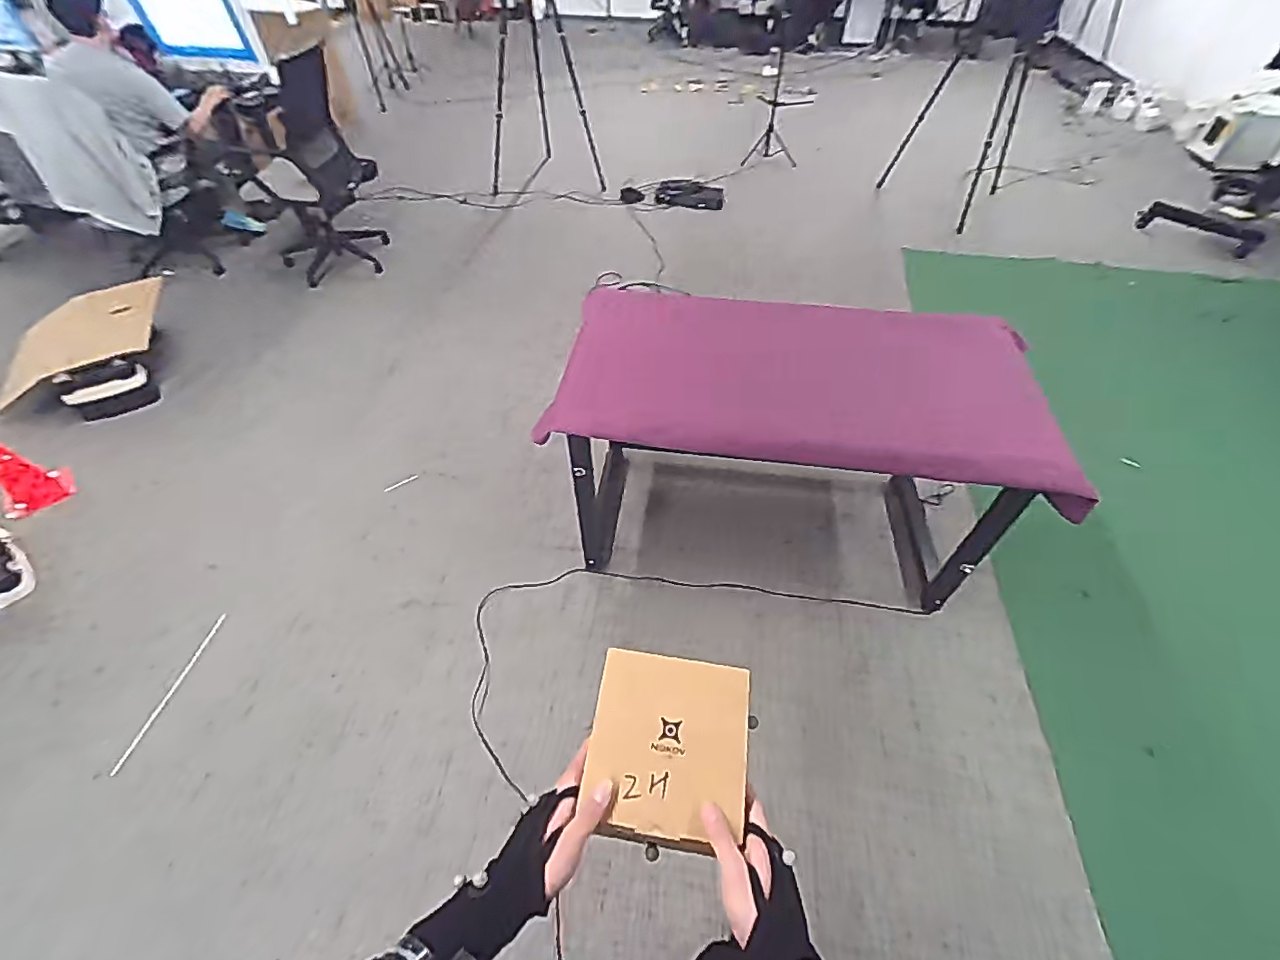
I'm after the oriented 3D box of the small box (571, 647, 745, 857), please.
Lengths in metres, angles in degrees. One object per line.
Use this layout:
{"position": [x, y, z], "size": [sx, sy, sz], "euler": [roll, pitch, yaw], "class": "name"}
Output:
{"position": [0.024, 0.320, 0.633], "size": [0.168, 0.176, 0.179], "euler": [7, 54, 6], "class": "small box"}
